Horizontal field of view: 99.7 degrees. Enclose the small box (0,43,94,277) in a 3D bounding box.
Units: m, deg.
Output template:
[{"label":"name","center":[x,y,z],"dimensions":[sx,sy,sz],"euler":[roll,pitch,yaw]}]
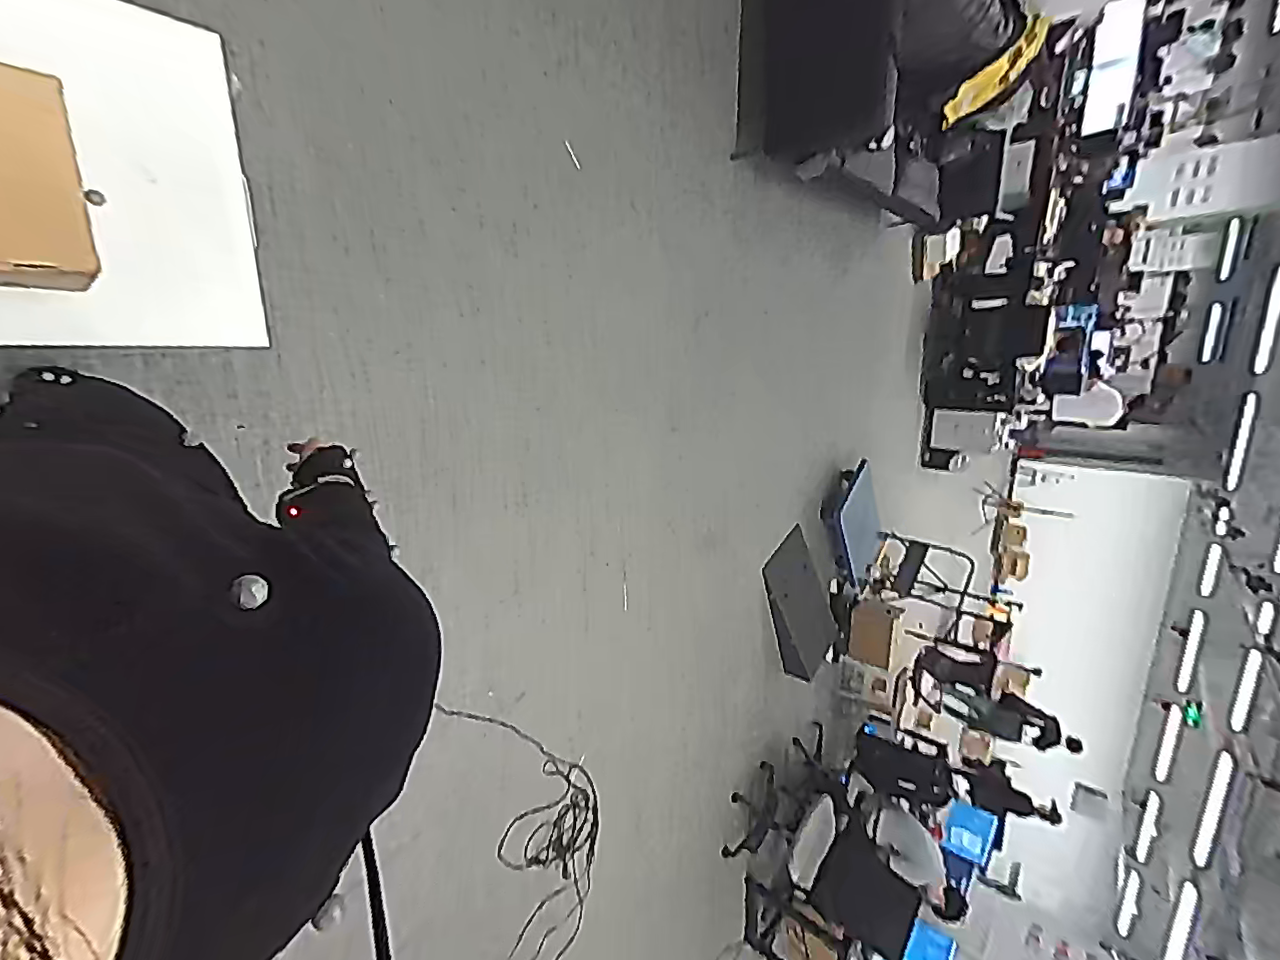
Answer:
[{"label":"small box","center":[-0.646,-0.297,0.501],"dimensions":[0.168,0.176,0.179],"euler":[-14,109,-47]}]
